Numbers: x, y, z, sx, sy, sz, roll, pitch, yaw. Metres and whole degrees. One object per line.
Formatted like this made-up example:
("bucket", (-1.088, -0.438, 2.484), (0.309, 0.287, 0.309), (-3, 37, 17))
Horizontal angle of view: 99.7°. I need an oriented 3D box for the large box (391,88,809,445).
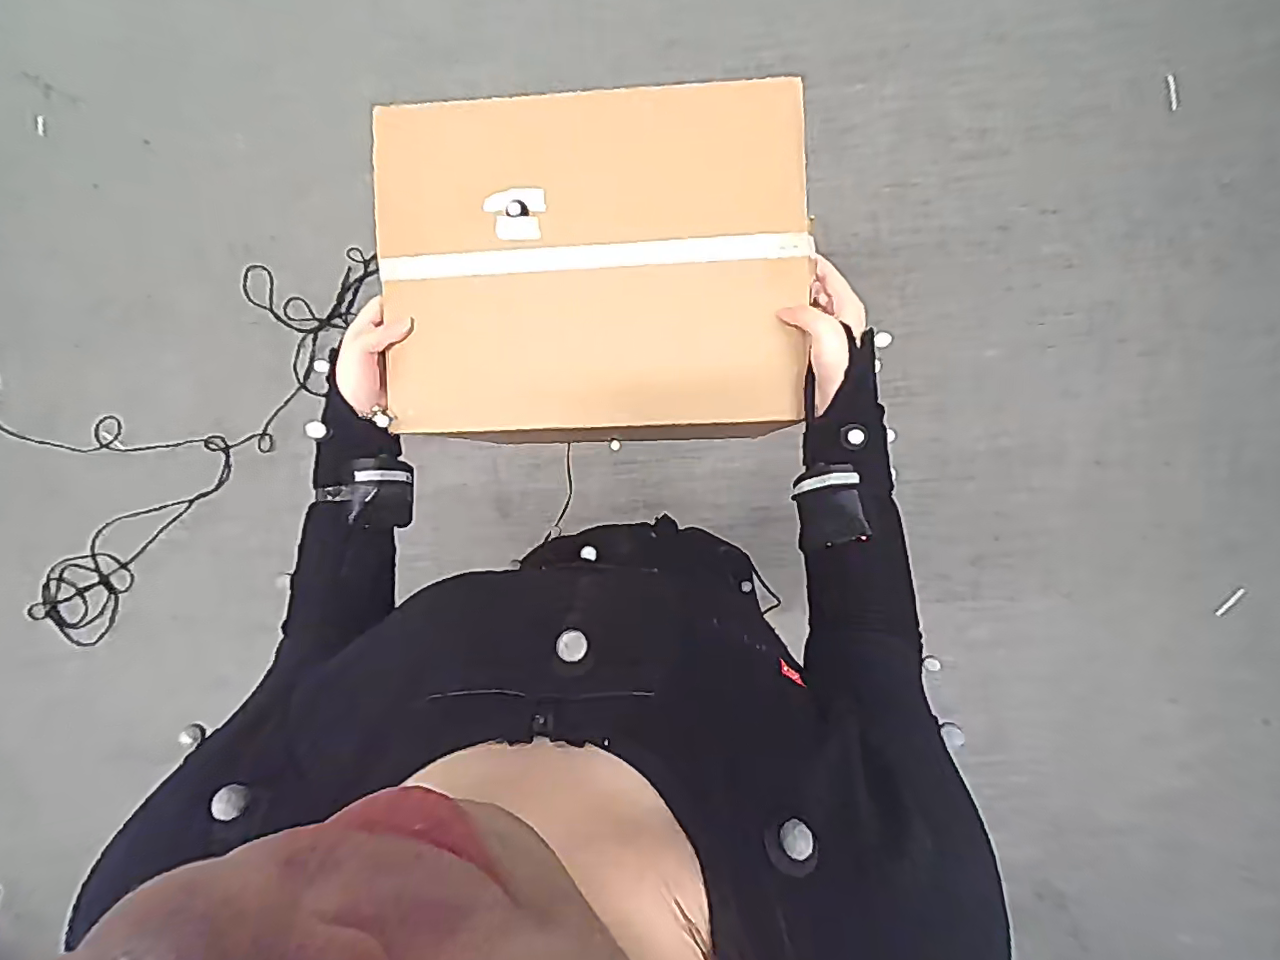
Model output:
("large box", (-0.029, -0.209, 0.672), (0.408, 0.320, 0.320), (-2, 91, 5))
